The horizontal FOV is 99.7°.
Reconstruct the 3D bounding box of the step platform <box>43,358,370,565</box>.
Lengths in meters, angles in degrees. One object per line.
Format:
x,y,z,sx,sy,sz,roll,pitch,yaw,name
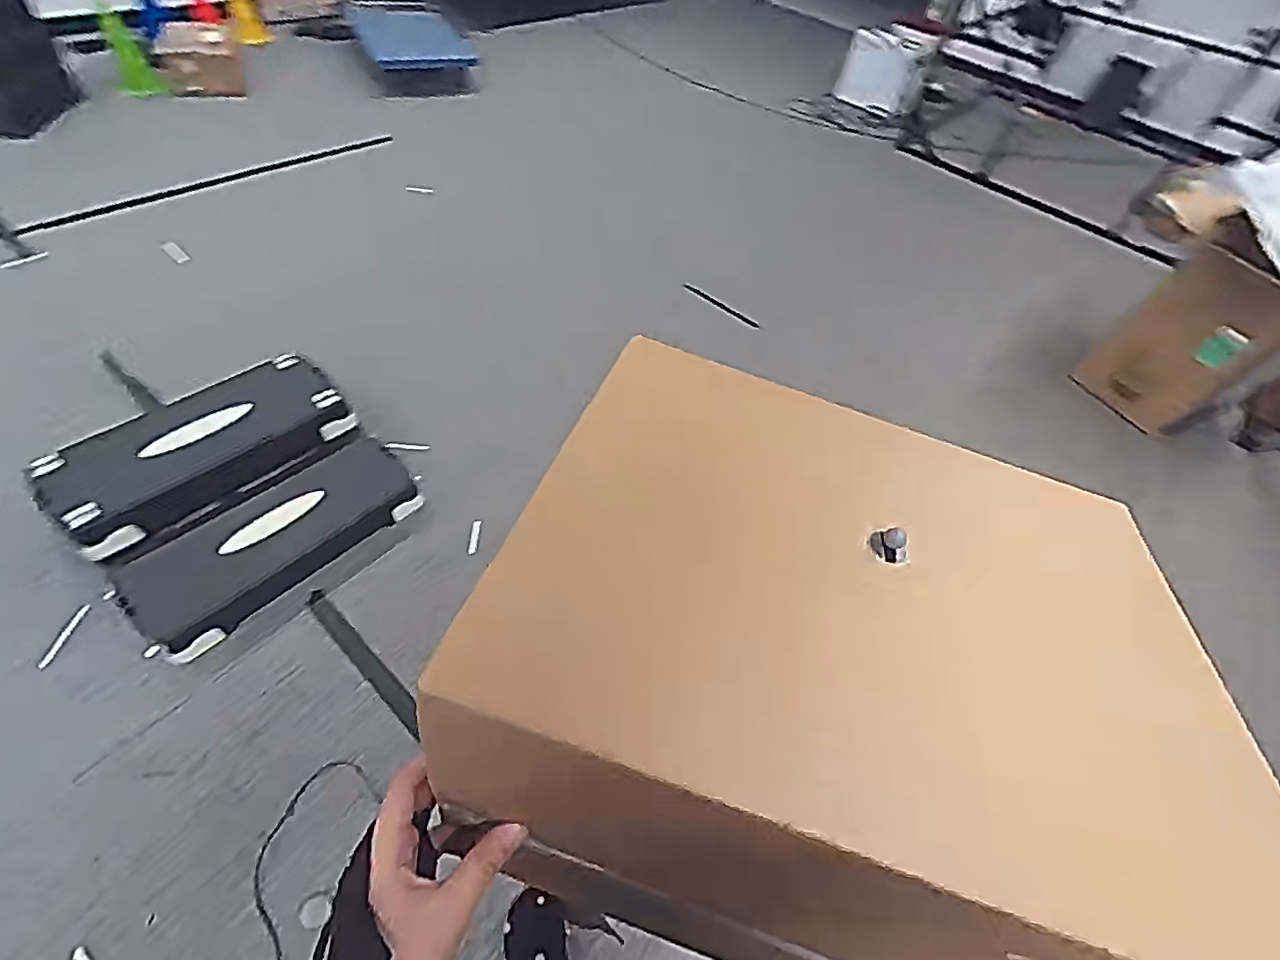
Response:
-1.126,-0.077,1.461,0.684,0.204,0.286,-34,65,-30,step platform

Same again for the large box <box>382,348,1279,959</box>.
0.092,0.146,0.419,0.408,0.320,0.320,17,46,3,large box
